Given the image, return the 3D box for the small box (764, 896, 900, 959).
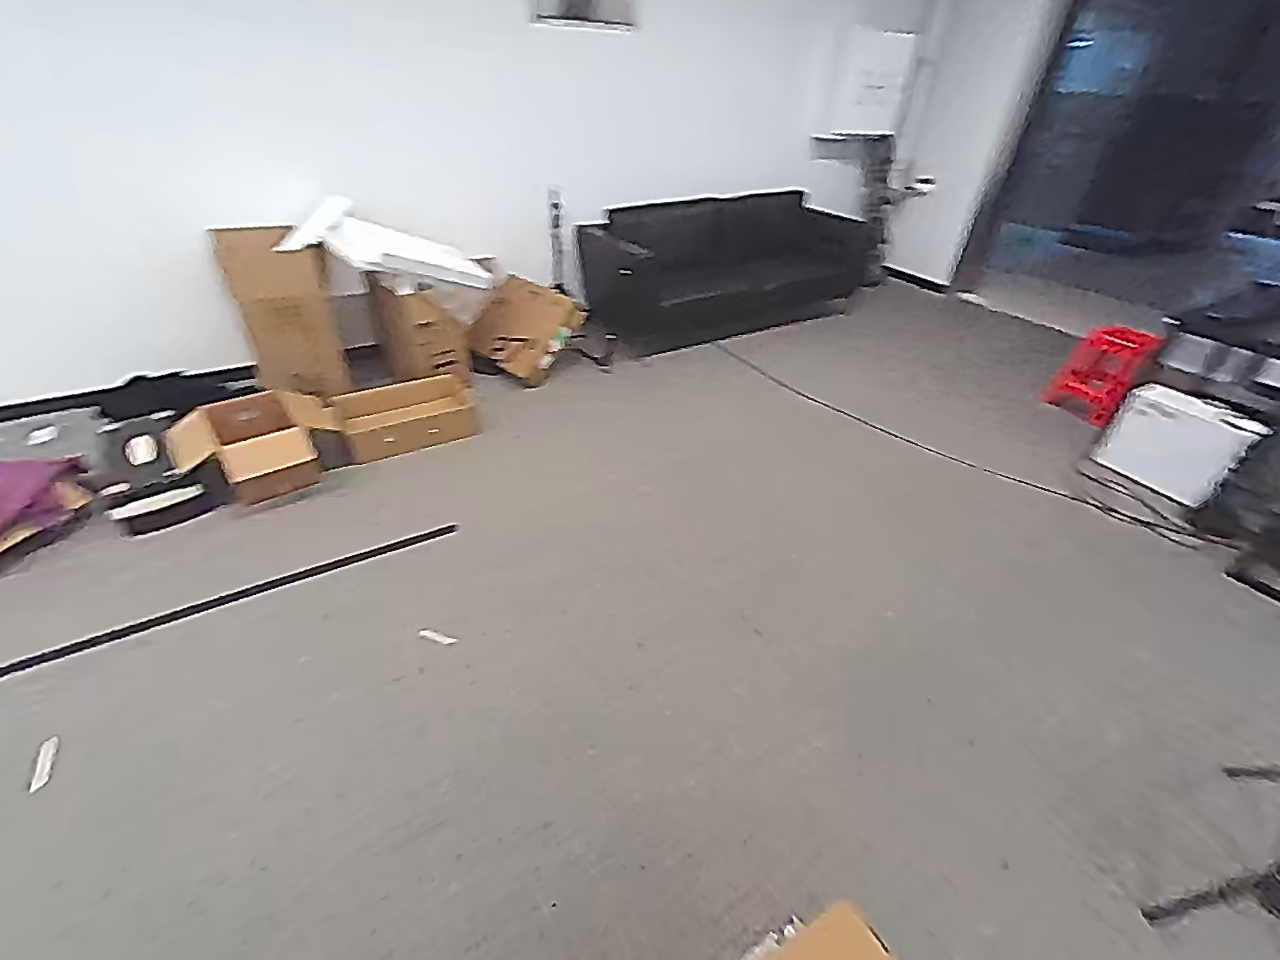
[{"bbox_3d":[0.199,0.589,0.557,0.179,0.176,0.168,-19,38,-21],"label":"small box"}]
